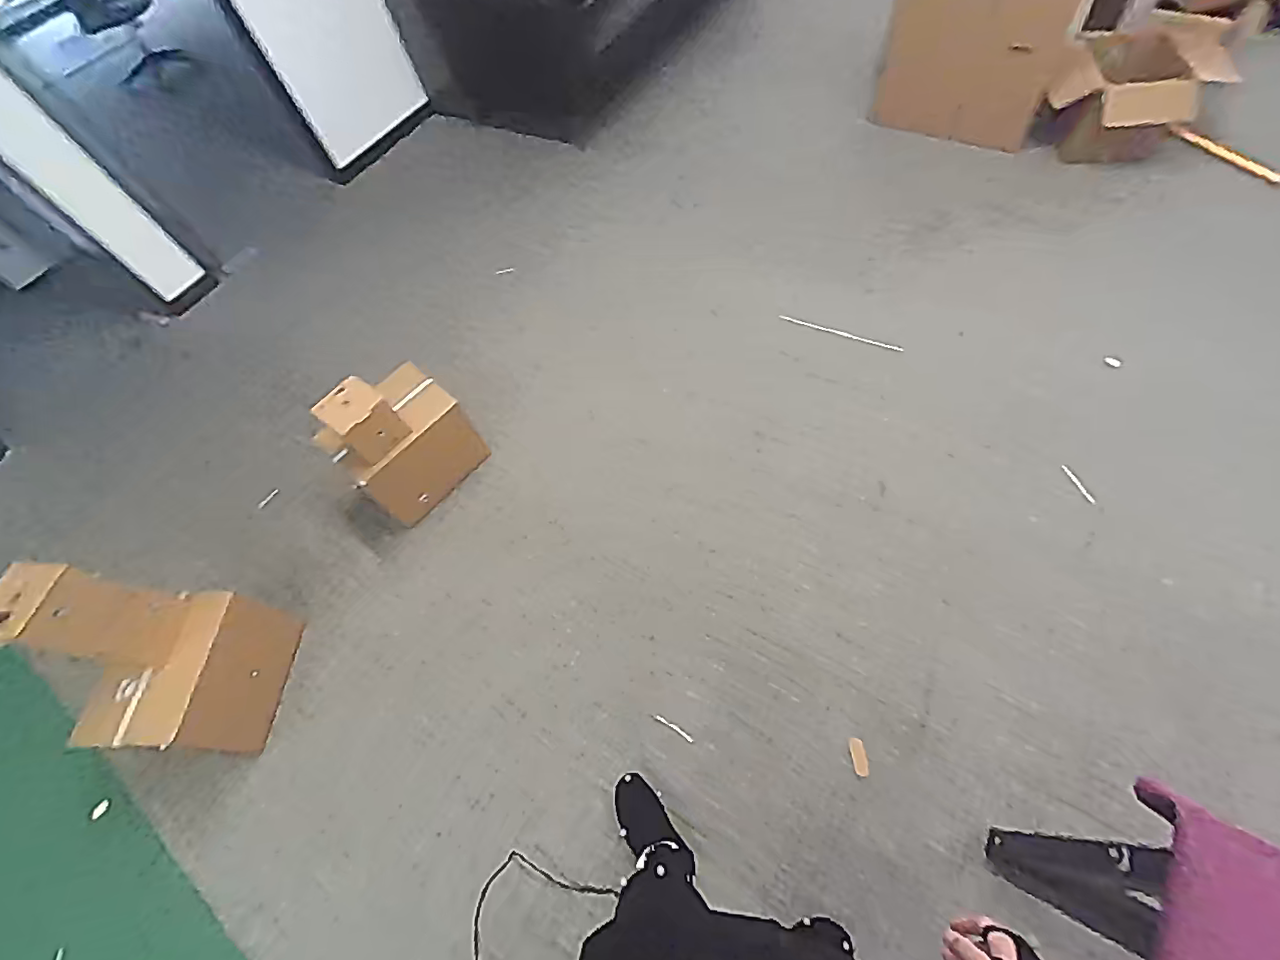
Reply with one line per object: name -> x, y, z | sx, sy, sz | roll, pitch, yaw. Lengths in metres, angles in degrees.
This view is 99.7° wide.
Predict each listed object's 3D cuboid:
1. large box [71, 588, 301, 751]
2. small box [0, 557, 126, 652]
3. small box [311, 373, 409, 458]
large box -> -1.284, 0.562, 1.584 | 0.320, 0.320, 0.408 | -4, 60, 8
small box -> -1.391, 0.297, 1.277 | 0.168, 0.176, 0.179 | 2, 60, 11
small box -> -0.855, -0.192, 1.668 | 0.179, 0.176, 0.168 | 33, 69, 23
